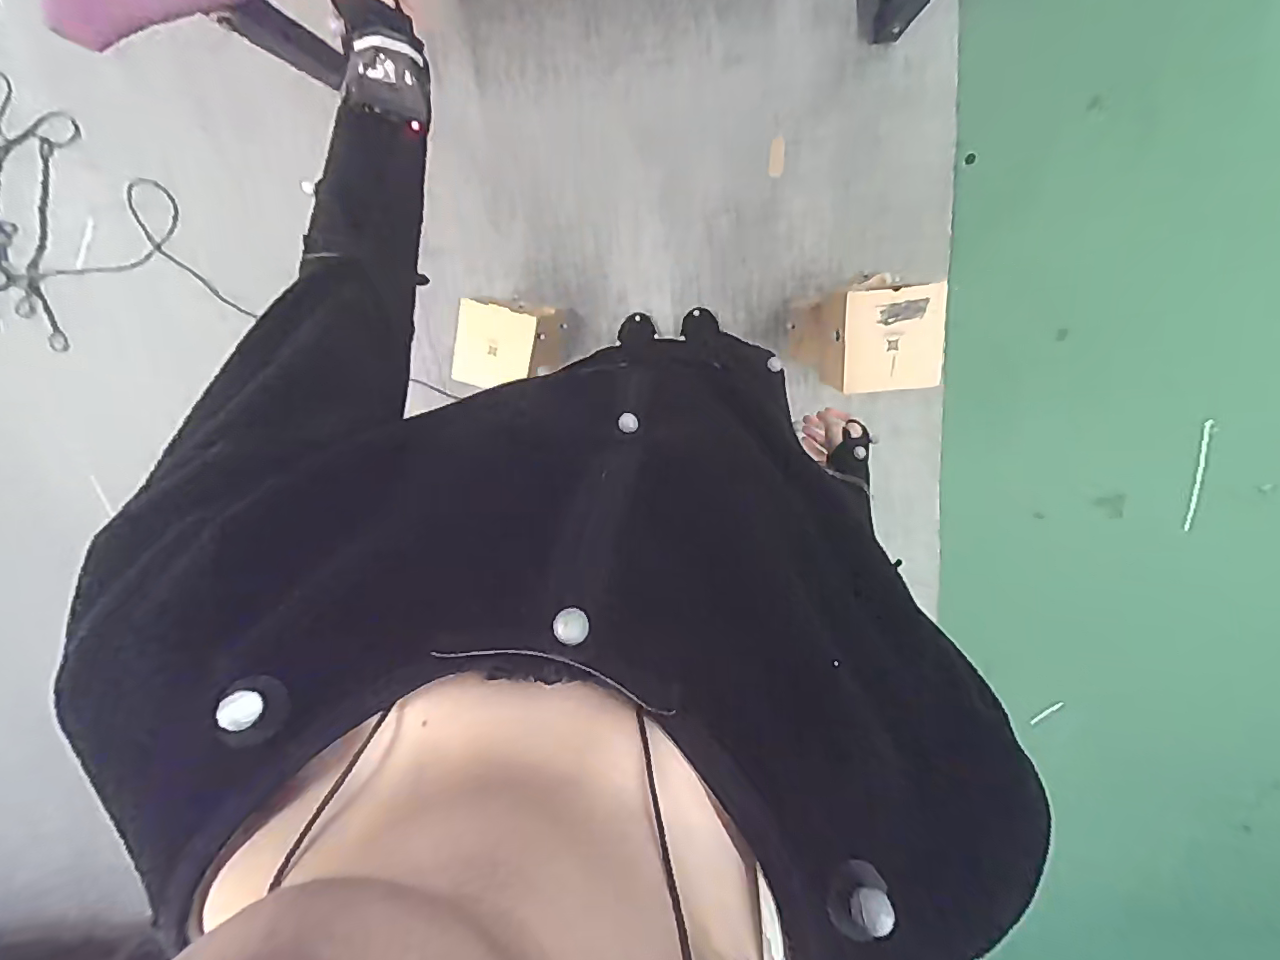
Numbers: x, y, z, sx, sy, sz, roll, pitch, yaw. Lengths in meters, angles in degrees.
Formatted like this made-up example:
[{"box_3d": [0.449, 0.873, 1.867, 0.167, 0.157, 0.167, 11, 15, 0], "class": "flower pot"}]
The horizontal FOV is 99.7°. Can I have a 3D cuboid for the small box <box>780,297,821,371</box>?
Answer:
[{"box_3d": [0.447, -0.353, 1.314, 0.179, 0.176, 0.168, 4, 109, 3], "class": "small box"}]

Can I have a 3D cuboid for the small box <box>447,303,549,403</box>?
[{"box_3d": [-0.312, -0.289, 1.213, 0.168, 0.176, 0.179, 15, 109, 0], "class": "small box"}]

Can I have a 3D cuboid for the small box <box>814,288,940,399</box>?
[{"box_3d": [0.426, -0.255, 1.000, 0.168, 0.176, 0.179, -4, 110, 4], "class": "small box"}]

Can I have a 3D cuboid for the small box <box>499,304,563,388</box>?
[{"box_3d": [-0.294, -0.343, 1.364, 0.168, 0.176, 0.179, 9, 110, 1], "class": "small box"}]
